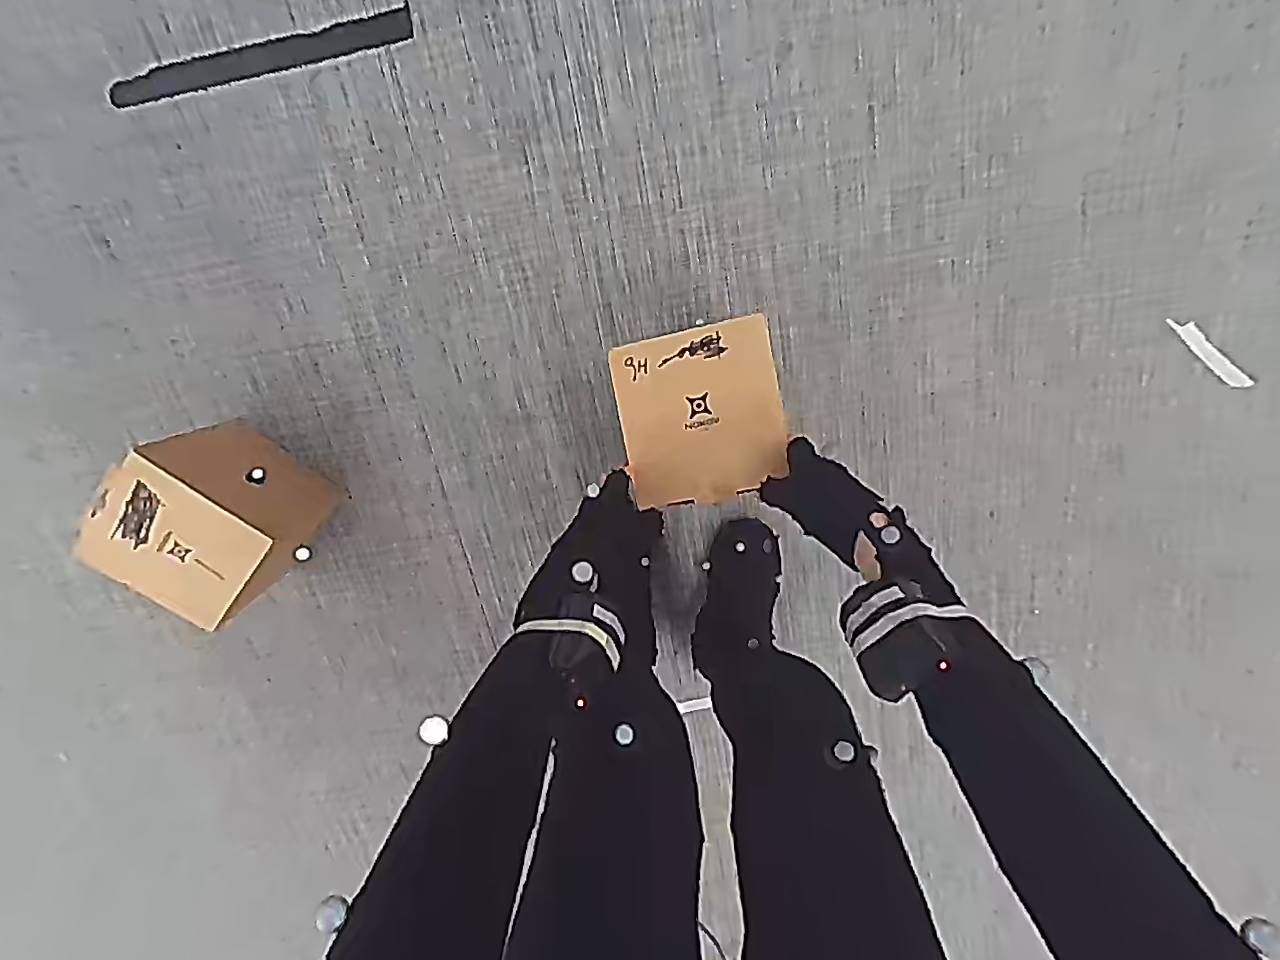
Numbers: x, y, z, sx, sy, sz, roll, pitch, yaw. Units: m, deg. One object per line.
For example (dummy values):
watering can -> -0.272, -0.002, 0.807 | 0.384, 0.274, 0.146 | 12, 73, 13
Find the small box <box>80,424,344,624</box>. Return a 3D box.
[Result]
small box -> -0.538, 0.045, 0.706 | 0.179, 0.176, 0.168 | 39, 104, -13

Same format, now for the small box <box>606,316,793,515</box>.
small box -> 0.073, -0.067, 0.629 | 0.168, 0.176, 0.179 | -12, 90, 9
